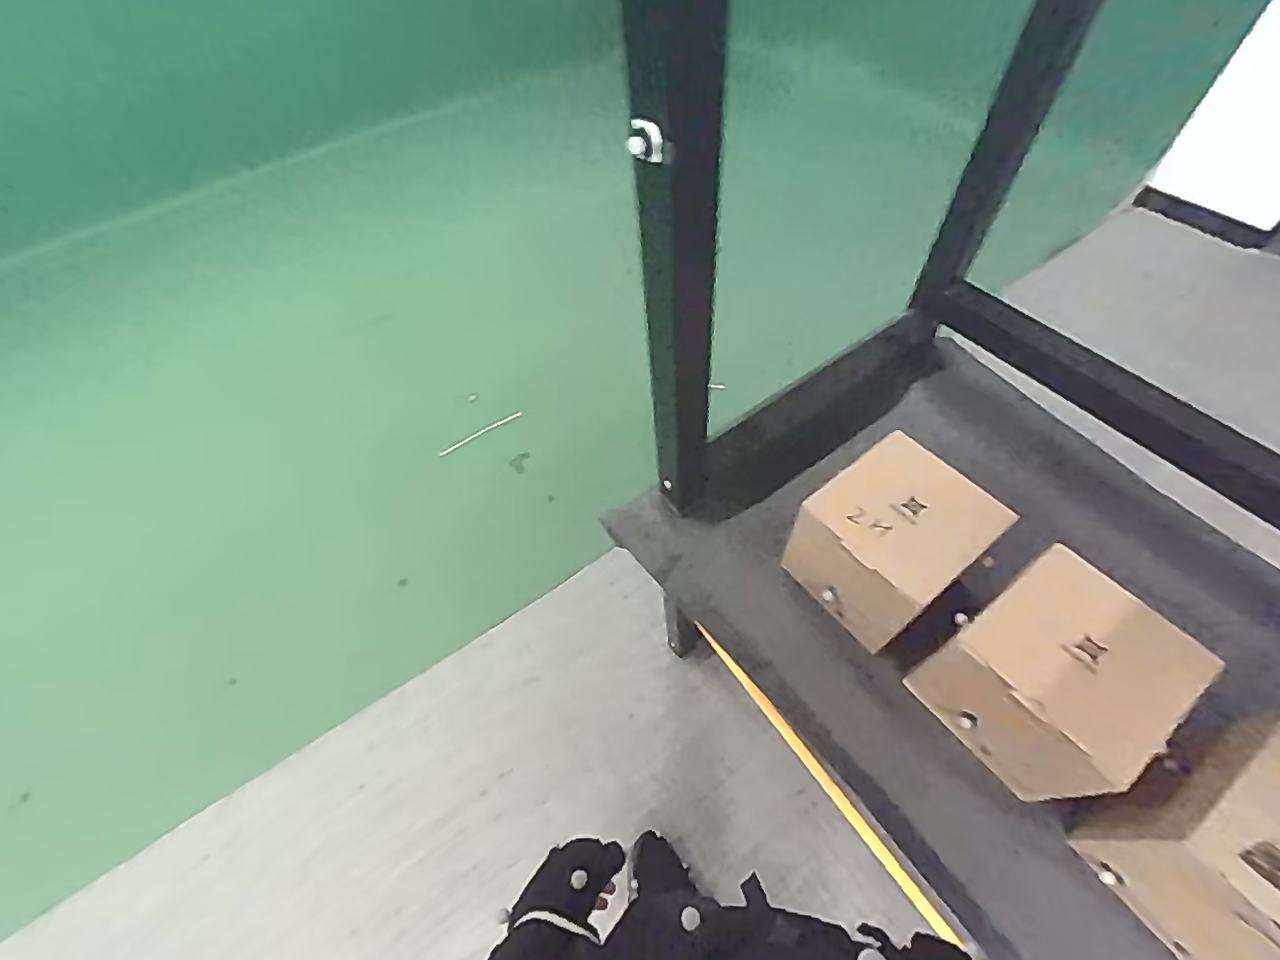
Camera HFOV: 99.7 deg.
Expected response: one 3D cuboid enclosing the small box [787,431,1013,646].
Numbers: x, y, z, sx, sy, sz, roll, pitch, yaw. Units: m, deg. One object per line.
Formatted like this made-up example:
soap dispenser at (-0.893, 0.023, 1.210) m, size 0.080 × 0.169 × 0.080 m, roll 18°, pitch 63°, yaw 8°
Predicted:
small box at (0.311, 0.078, 0.688) m, size 0.179 × 0.176 × 0.168 m, roll -34°, pitch 60°, yaw -17°
